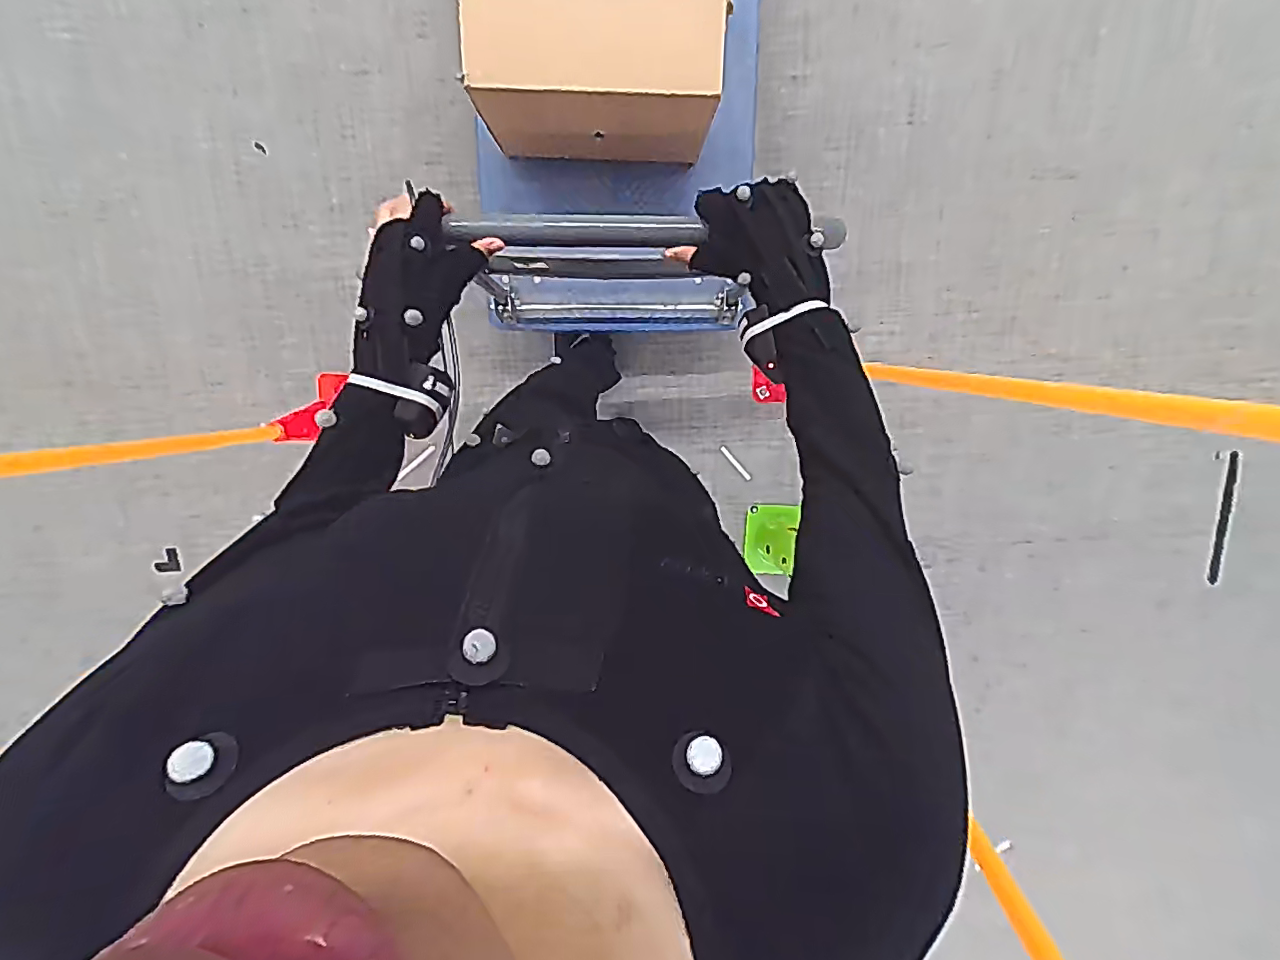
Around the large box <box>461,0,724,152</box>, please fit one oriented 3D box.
[{"bbox_3d":[-0.072,-0.797,0.951,0.408,0.320,0.320,1,103,-1],"label":"large box"}]

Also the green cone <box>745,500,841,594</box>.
[{"bbox_3d":[0.403,0.192,1.341,0.202,0.368,0.200,1,103,-3],"label":"green cone"}]

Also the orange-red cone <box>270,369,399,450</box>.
[{"bbox_3d":[-0.721,-0.147,1.237,0.198,0.360,0.199,5,101,-4],"label":"orange-red cone"}]

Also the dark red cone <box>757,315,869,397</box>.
[{"bbox_3d":[0.406,-0.276,1.215,0.201,0.394,0.202,-3,104,-3],"label":"dark red cone"}]
